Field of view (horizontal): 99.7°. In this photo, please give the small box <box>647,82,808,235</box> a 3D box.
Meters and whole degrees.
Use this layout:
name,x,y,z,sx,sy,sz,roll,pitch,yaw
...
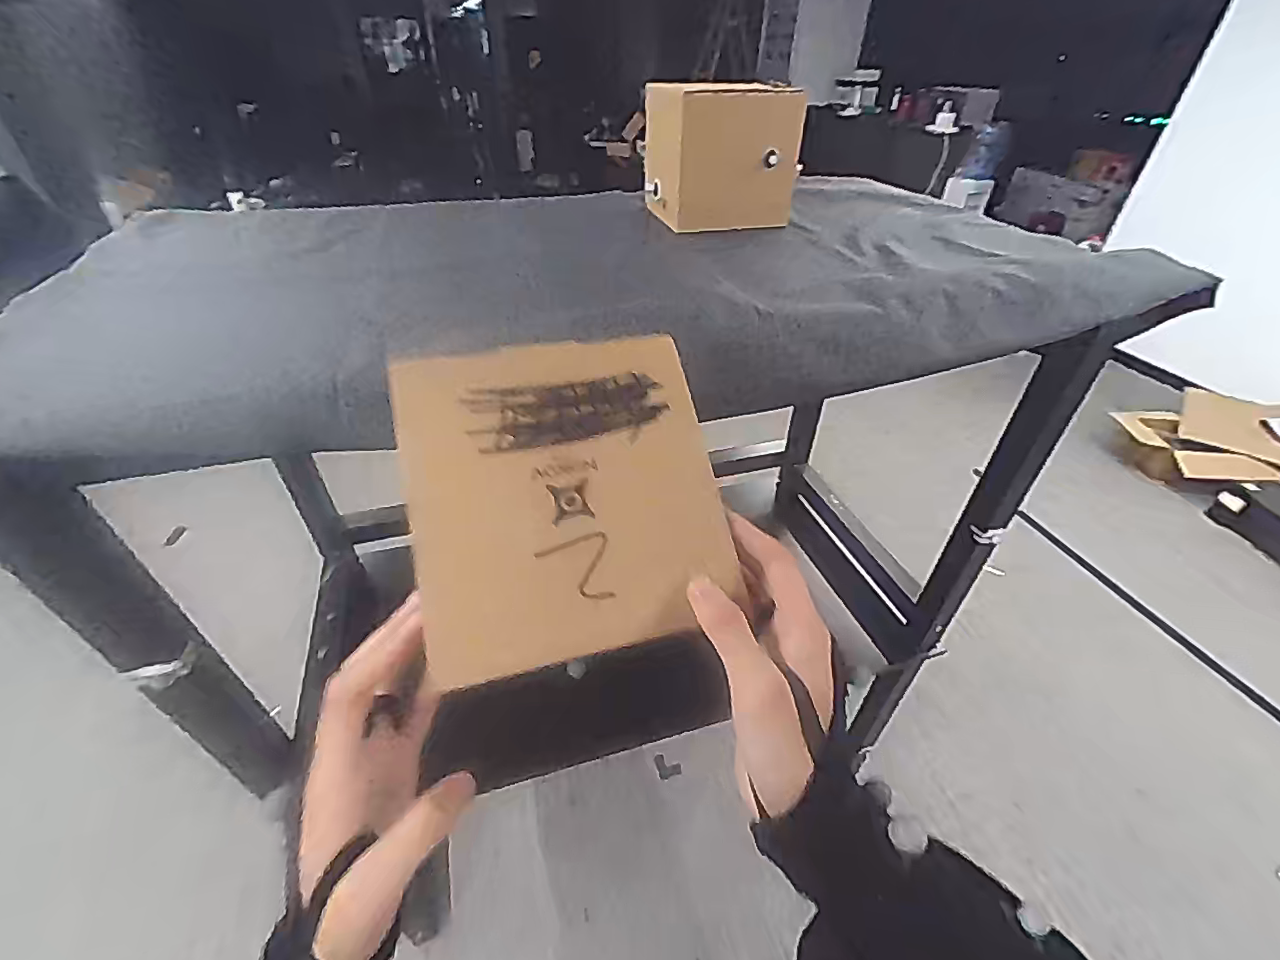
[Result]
name,x,y,z,sx,sy,sz,roll,pitch,yaw
small box,0.114,-0.468,0.788,0.179,0.176,0.168,-9,39,-12
